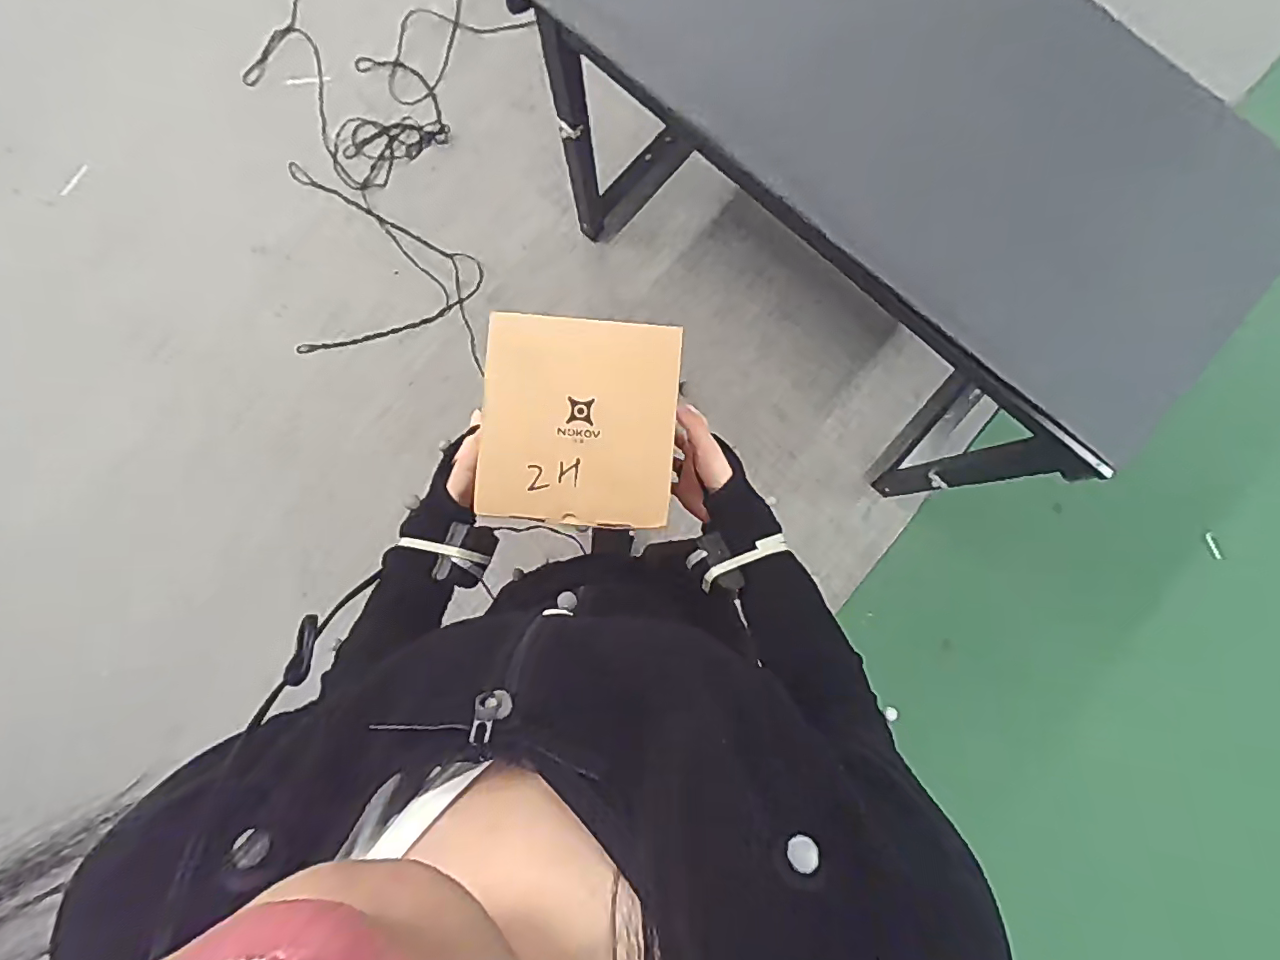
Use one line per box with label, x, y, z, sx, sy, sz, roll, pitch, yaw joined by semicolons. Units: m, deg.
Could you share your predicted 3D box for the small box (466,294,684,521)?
small box;-0.054;-0.058;0.526;0.168;0.176;0.179;6;89;0
